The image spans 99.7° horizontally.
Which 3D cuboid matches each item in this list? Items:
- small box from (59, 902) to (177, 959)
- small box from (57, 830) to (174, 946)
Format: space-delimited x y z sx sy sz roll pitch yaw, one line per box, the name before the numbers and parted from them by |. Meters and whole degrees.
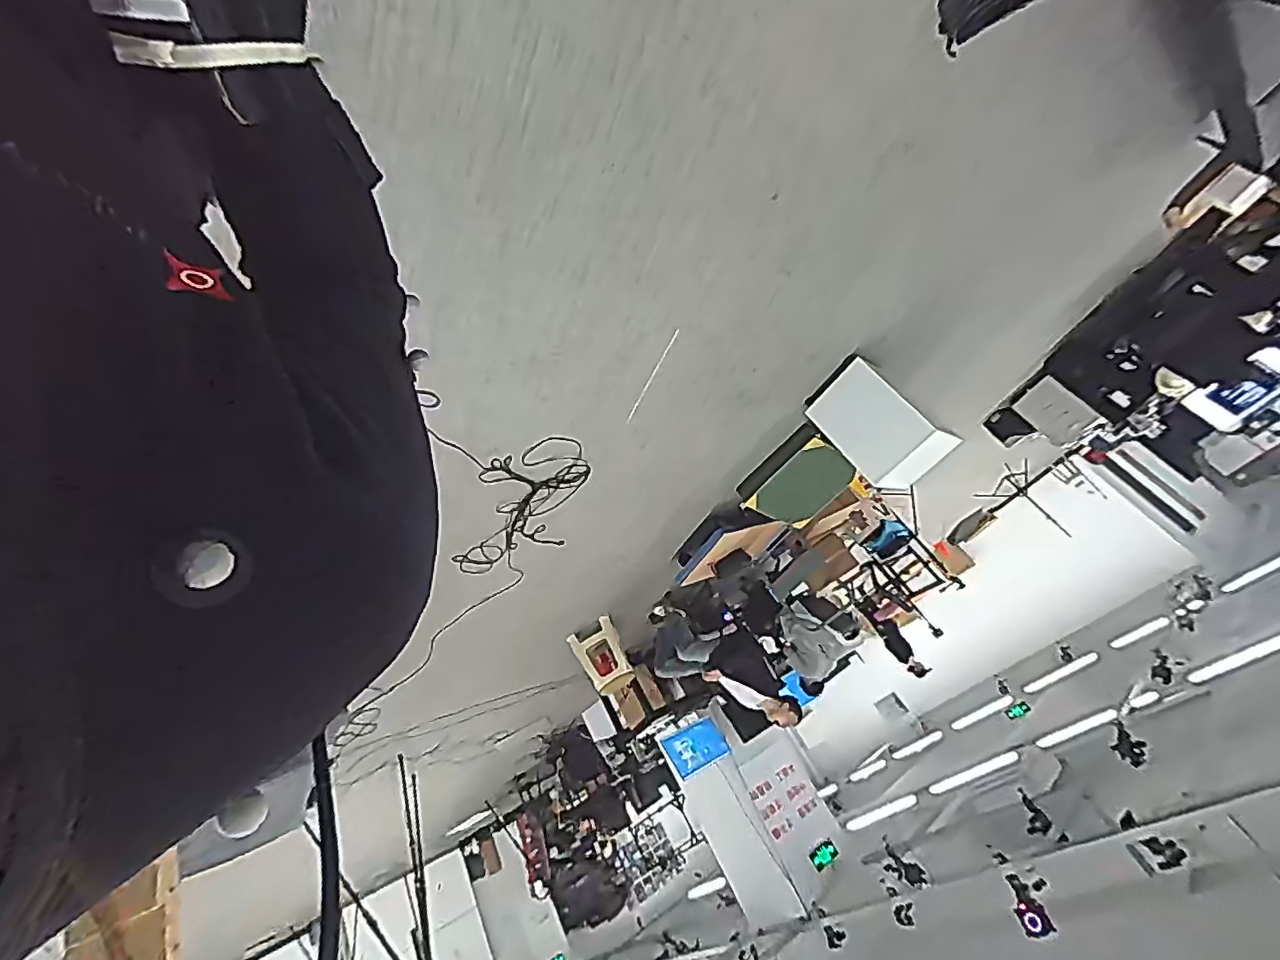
small box | -1.198 1.120 1.248 0.179 0.176 0.168 -10 143 -35
small box | -1.266 0.989 1.316 0.168 0.176 0.179 -14 146 -32
